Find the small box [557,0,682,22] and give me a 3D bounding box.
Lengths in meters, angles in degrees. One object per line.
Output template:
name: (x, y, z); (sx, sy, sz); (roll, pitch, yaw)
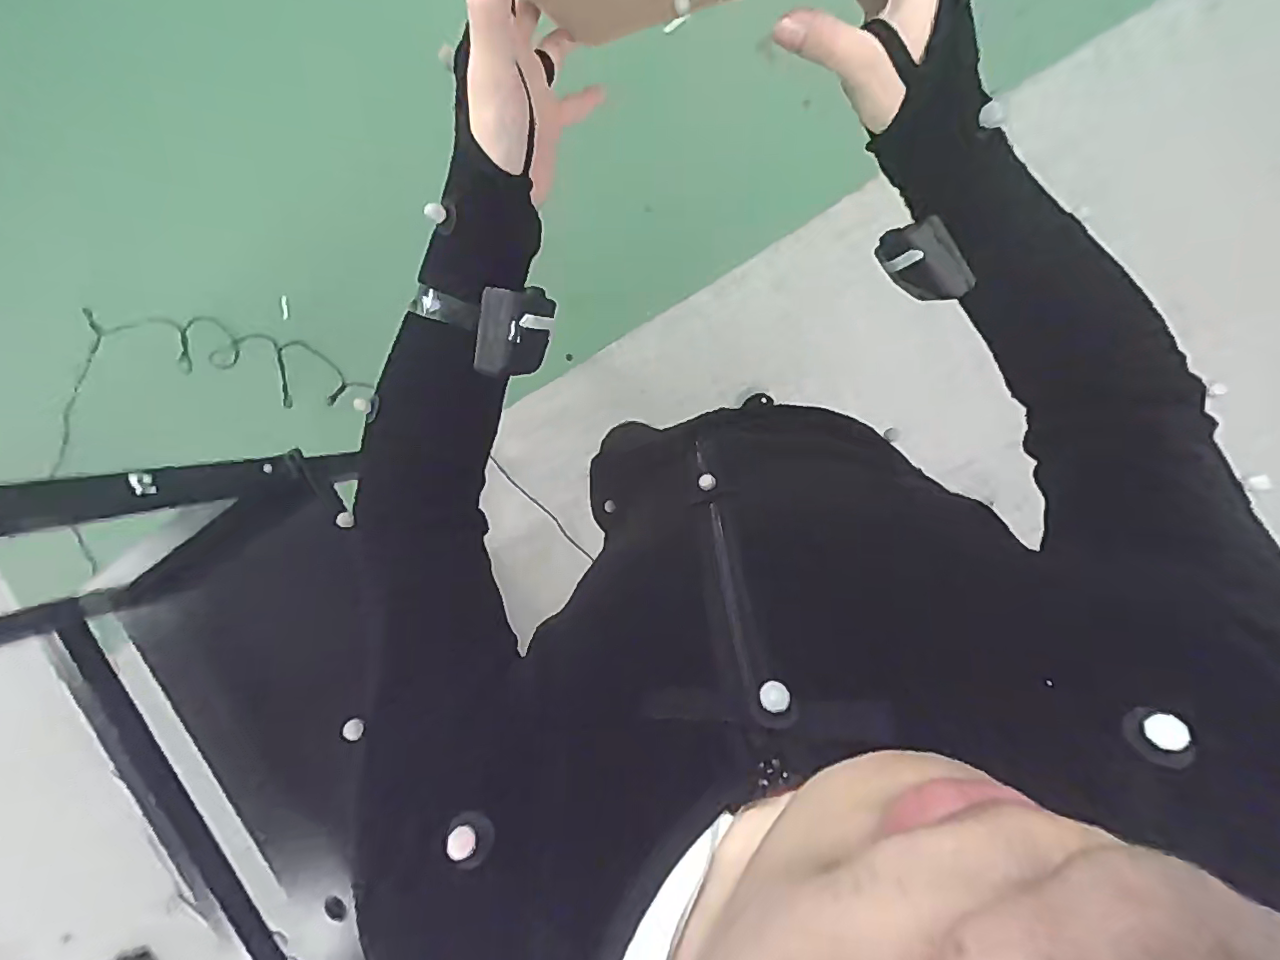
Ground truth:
small box: (0.010, -0.370, 0.275); (0.168, 0.176, 0.179); (-7, 118, 13)
